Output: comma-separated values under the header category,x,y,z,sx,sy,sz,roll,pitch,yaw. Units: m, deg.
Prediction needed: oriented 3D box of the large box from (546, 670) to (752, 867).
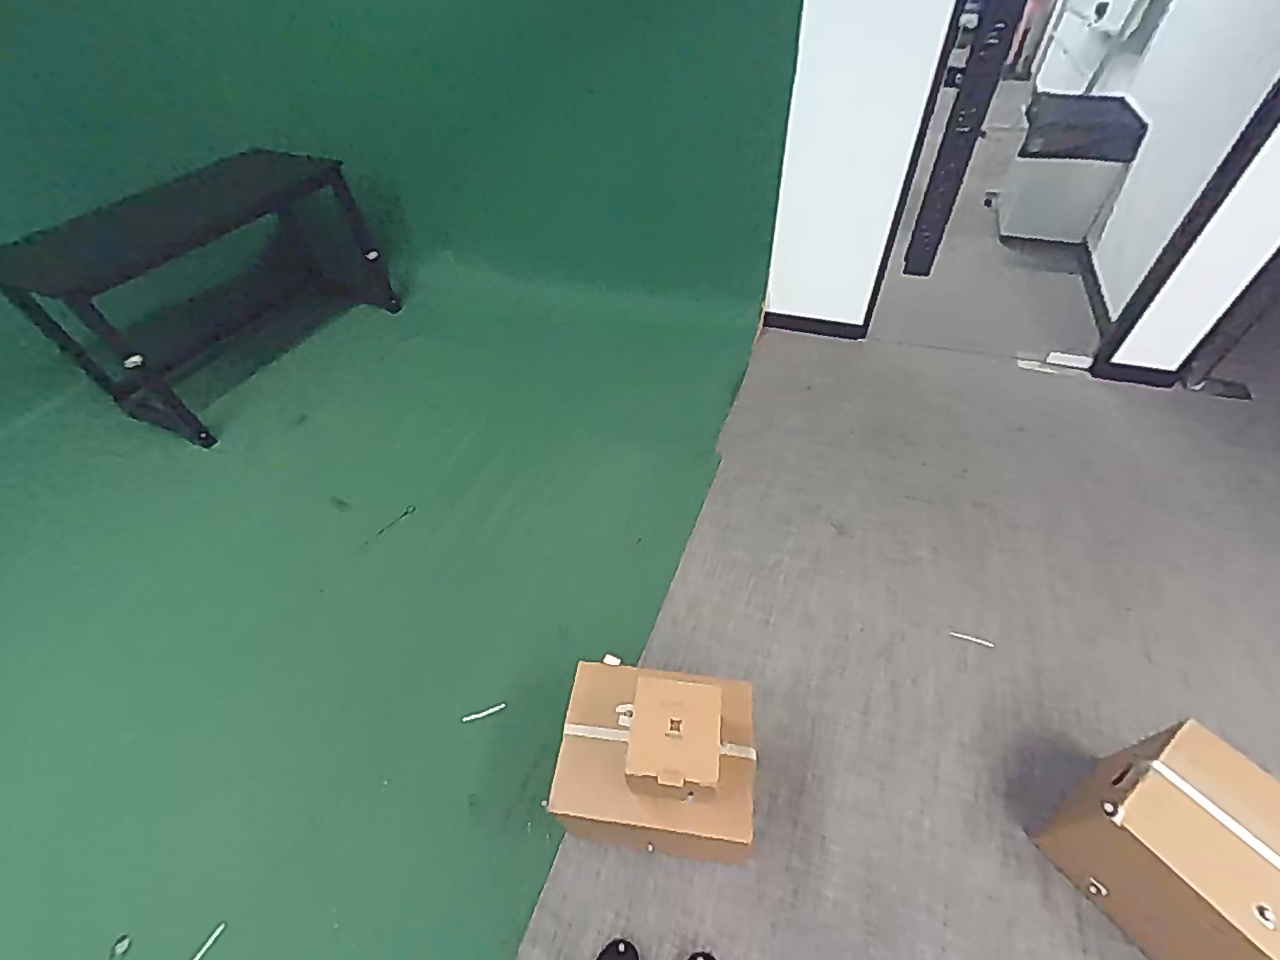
category,x,y,z,sx,sy,sz,roll,pitch,yaw
large box,0.042,0.660,1.237,0.408,0.320,0.320,3,47,8

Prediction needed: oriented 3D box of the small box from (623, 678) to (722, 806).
category,x,y,z,sx,sy,sz,roll,pitch,yaw
small box,0.068,0.507,1.041,0.168,0.176,0.179,4,49,8
